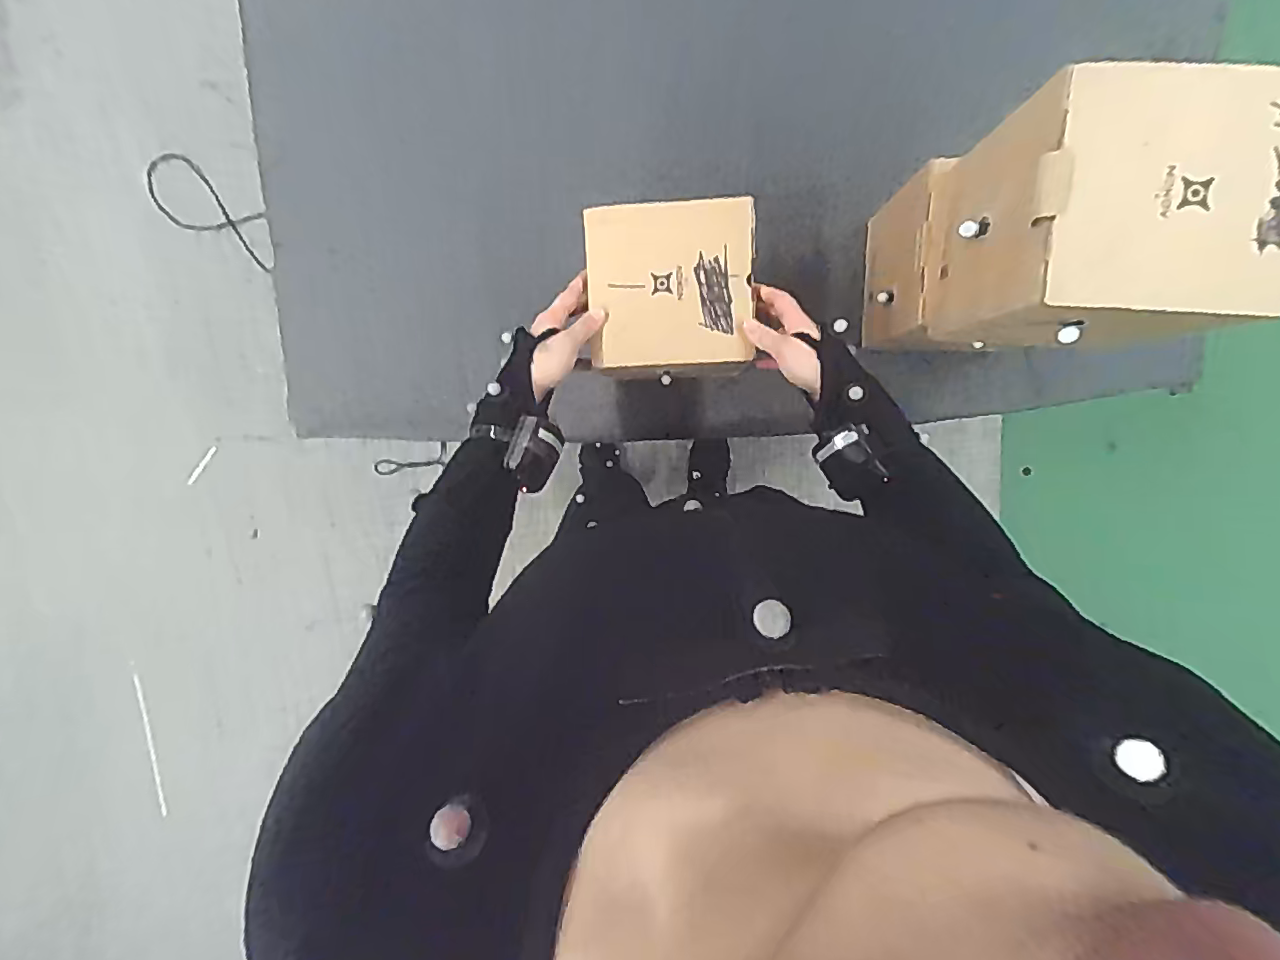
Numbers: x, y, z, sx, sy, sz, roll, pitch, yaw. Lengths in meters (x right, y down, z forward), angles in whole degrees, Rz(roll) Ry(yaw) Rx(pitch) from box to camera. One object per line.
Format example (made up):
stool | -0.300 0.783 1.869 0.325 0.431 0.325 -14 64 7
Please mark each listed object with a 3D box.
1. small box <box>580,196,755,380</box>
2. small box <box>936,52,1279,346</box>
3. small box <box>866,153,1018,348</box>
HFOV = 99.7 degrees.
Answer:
small box | 0.033 -0.207 0.628 0.179 0.176 0.168 -2 96 5
small box | 0.374 -0.207 0.445 0.179 0.176 0.168 4 97 3
small box | 0.371 -0.241 0.607 0.179 0.176 0.168 1 97 2
